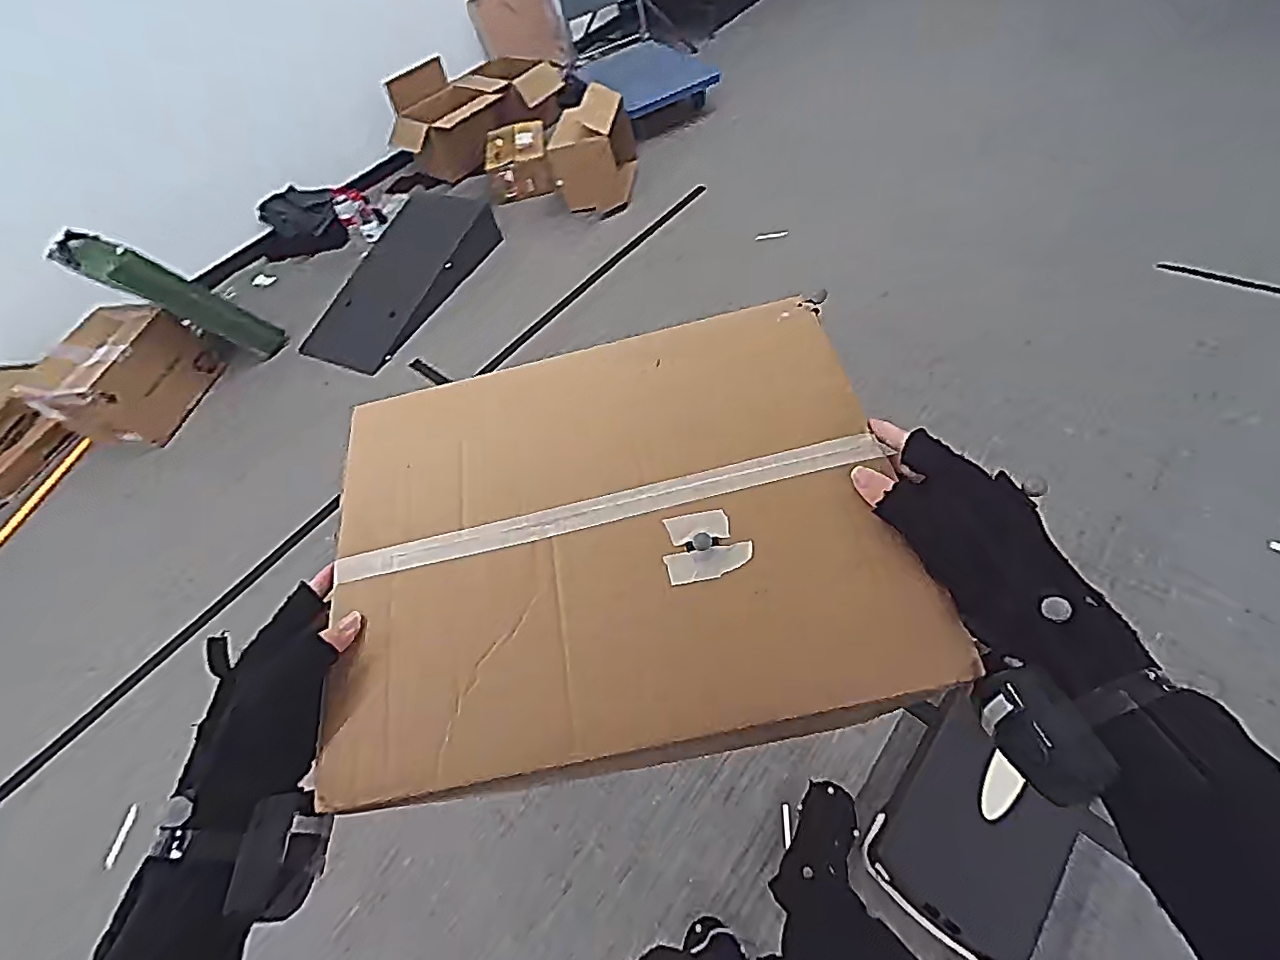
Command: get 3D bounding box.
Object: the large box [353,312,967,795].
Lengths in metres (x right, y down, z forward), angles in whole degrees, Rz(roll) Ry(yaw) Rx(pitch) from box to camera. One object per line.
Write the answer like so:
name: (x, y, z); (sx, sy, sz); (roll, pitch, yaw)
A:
large box: (0.003, 0.096, 0.538); (0.408, 0.320, 0.320); (-13, 61, 3)
